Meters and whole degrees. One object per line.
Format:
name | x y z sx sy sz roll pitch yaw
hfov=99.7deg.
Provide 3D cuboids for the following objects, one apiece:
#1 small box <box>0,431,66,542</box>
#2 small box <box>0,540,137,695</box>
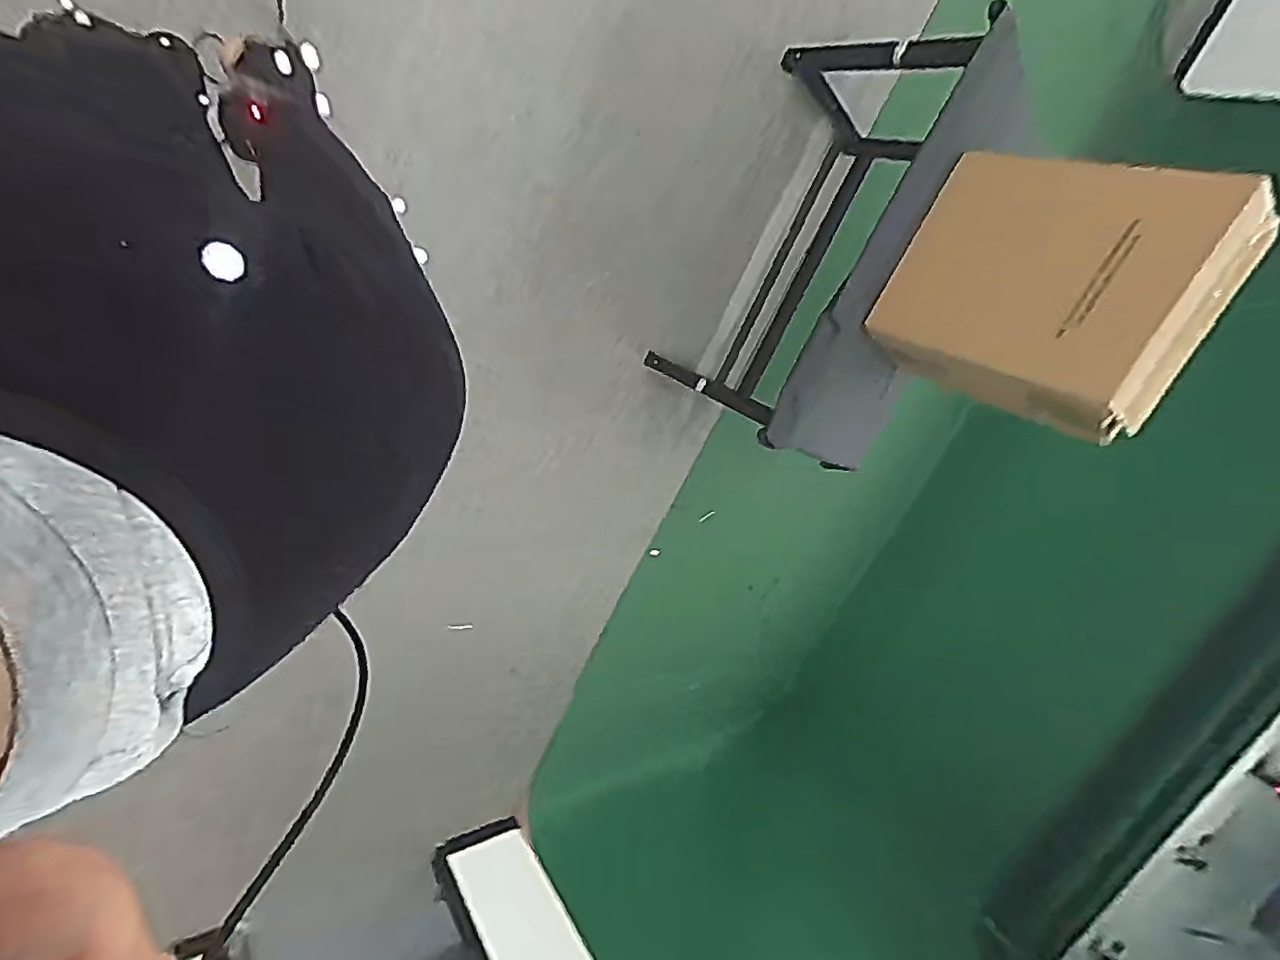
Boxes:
small box | -1.036 0.026 0.853 0.179 0.176 0.168 1 117 -44
small box | -0.918 0.205 0.842 0.179 0.176 0.168 7 114 -48
